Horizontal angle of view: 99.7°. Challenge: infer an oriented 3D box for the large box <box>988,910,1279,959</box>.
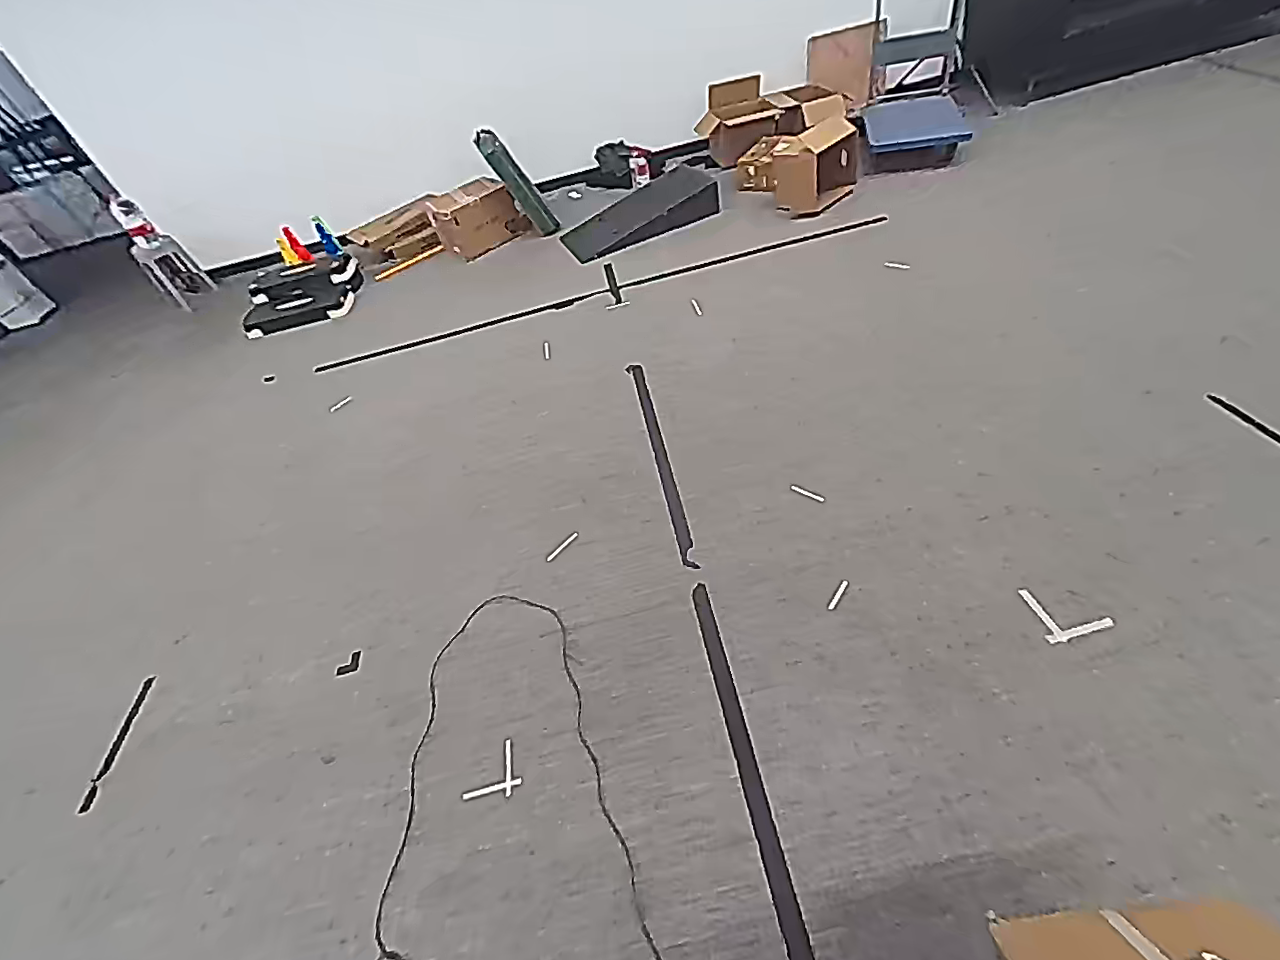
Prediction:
[{"bbox_3d":[0.633,0.718,0.524,0.320,0.408,0.320,-13,76,10],"label":"large box"}]
